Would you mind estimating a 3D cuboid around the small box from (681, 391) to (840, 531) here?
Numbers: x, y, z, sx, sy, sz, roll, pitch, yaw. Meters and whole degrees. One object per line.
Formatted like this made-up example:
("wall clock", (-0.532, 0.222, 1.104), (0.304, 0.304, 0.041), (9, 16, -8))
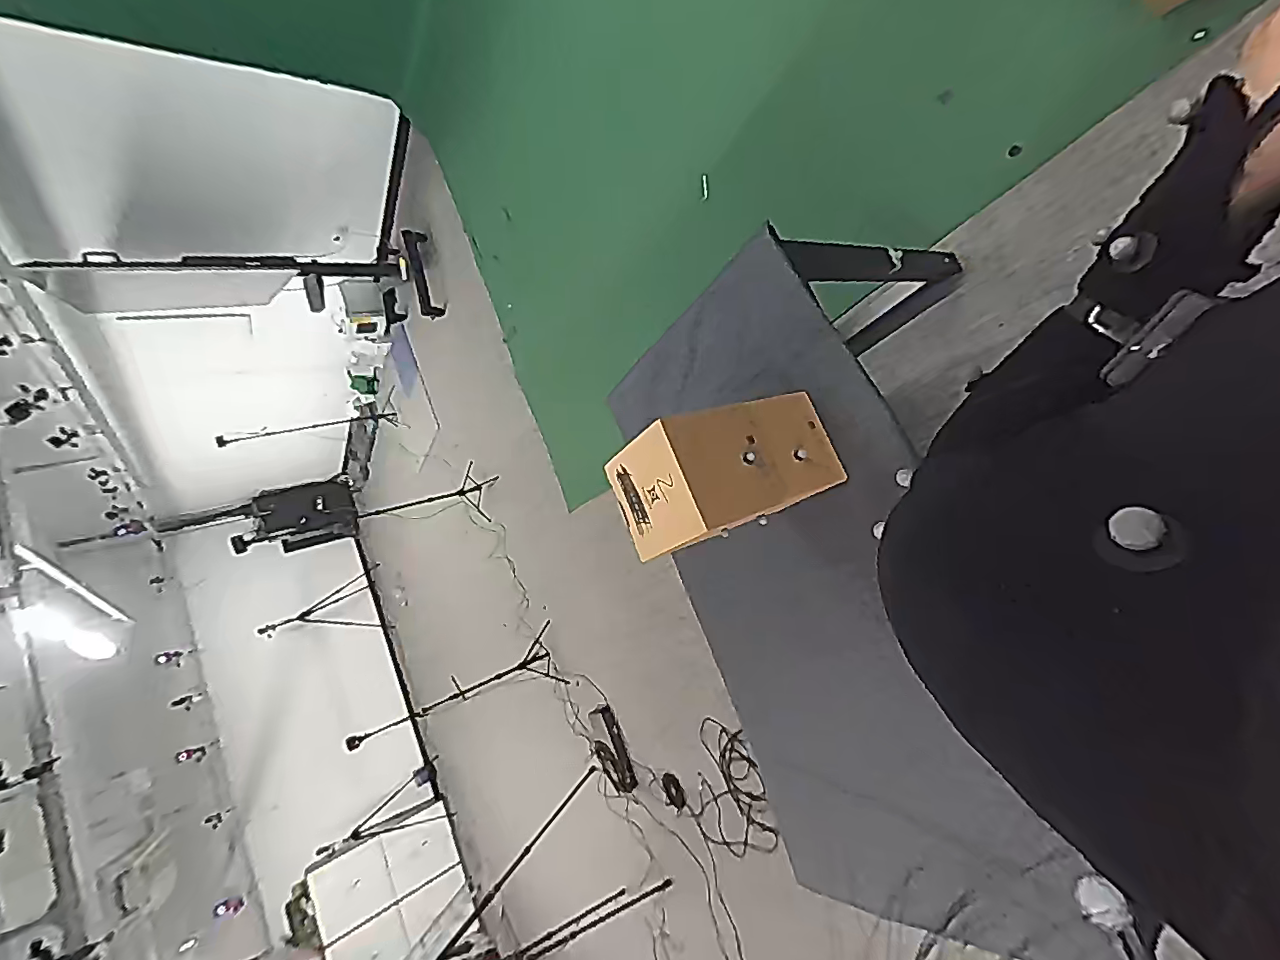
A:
("small box", (0.208, -0.035, 0.911), (0.179, 0.176, 0.168), (-37, 73, 53))
